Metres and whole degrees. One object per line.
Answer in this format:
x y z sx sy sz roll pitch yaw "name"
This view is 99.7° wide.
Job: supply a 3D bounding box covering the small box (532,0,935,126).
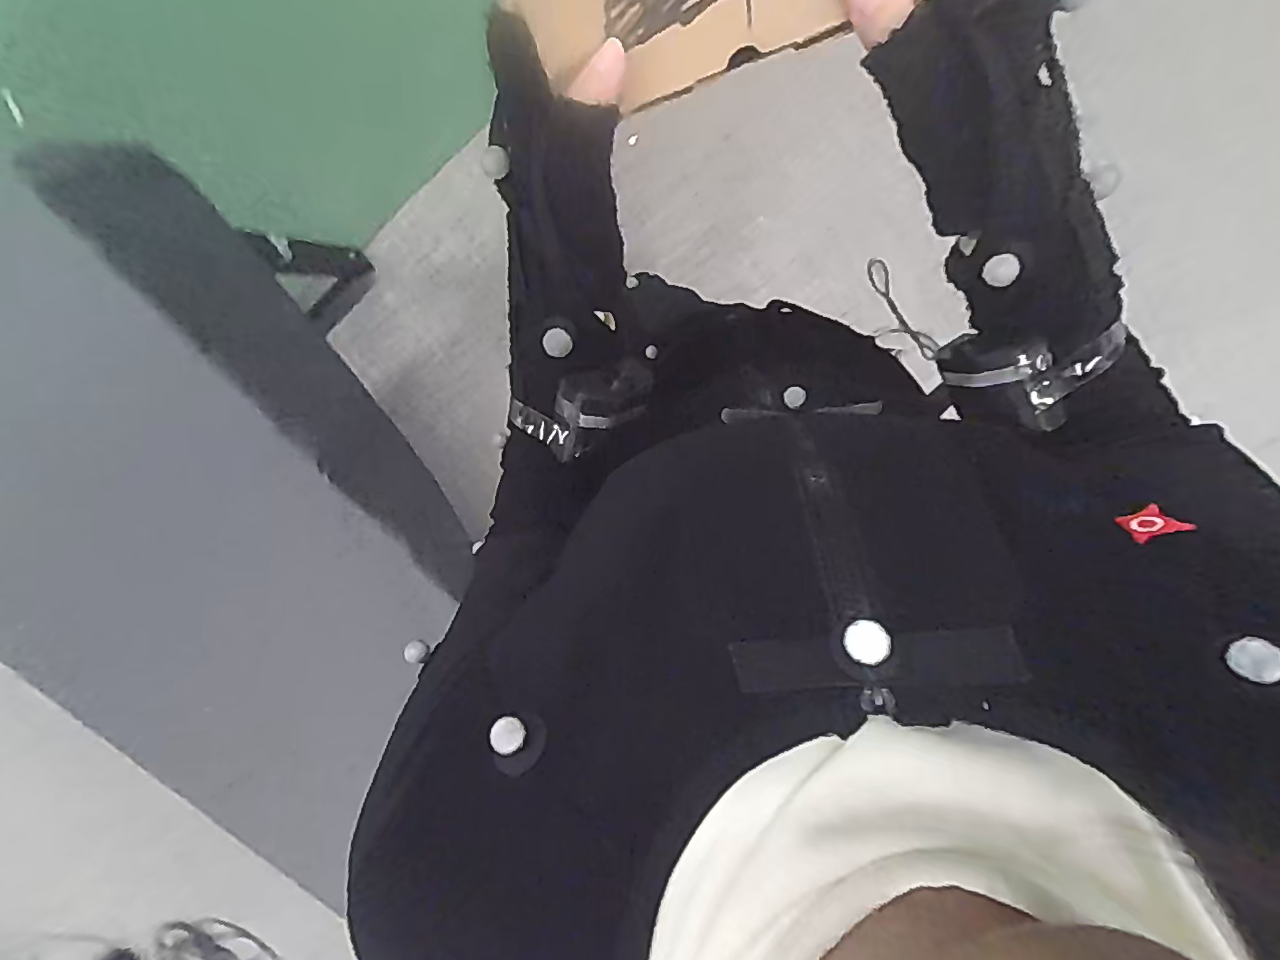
0.025 -0.297 0.231 0.168 0.176 0.179 -11 136 15 "small box"
